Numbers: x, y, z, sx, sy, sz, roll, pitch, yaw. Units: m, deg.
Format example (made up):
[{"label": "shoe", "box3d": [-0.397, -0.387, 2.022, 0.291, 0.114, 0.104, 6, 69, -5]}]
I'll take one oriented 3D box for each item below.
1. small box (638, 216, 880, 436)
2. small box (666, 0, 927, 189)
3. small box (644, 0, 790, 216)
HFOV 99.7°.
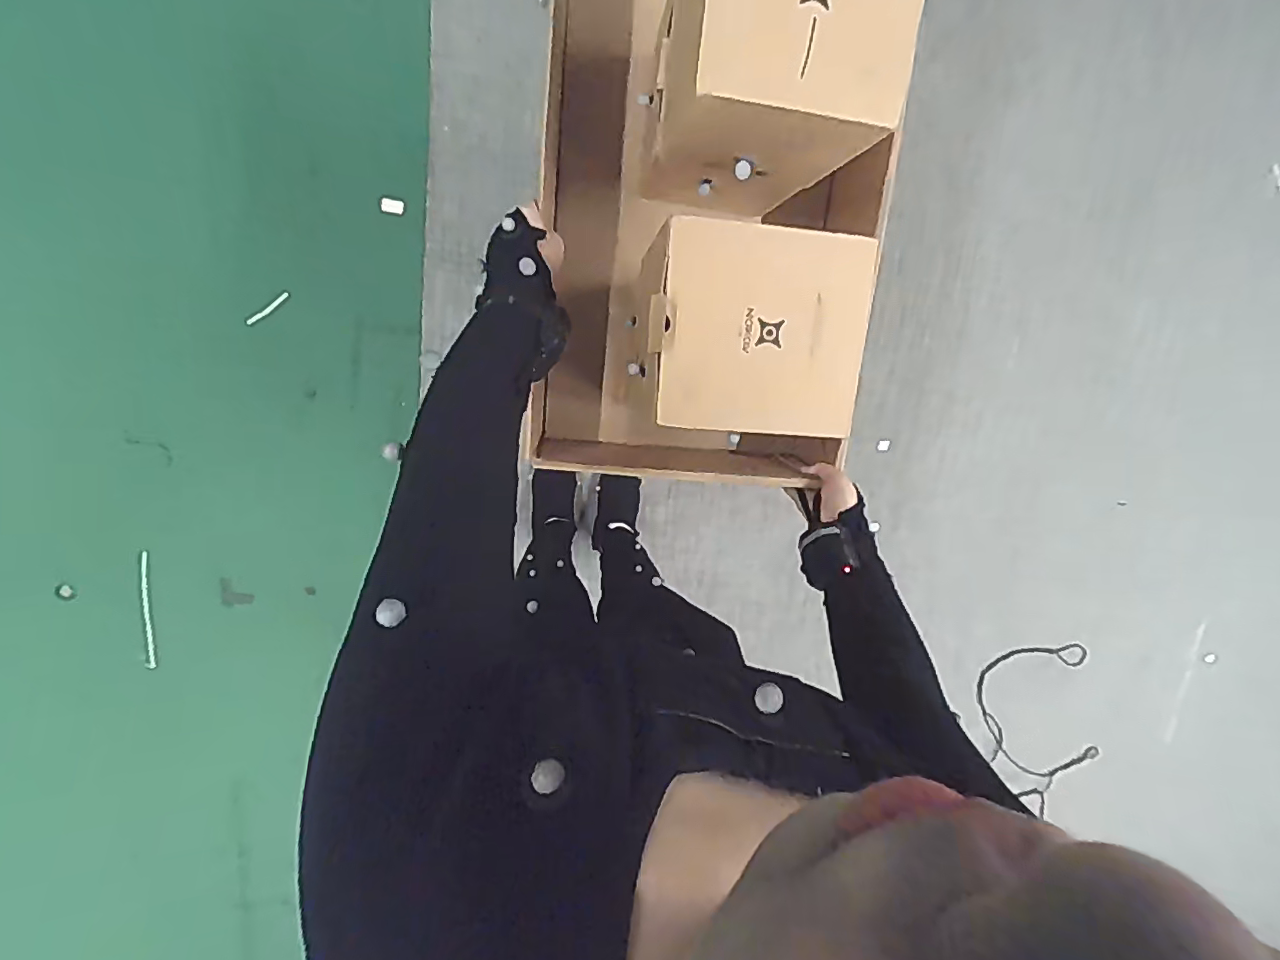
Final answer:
[{"label": "small box", "box3d": [0.095, -0.137, 0.522, 0.179, 0.176, 0.168, 2, 101, -8]}, {"label": "small box", "box3d": [0.123, -0.381, 0.470, 0.168, 0.176, 0.179, 5, 104, -8]}, {"label": "small box", "box3d": [0.104, -0.423, 0.629, 0.179, 0.176, 0.168, 6, 103, -8]}]
